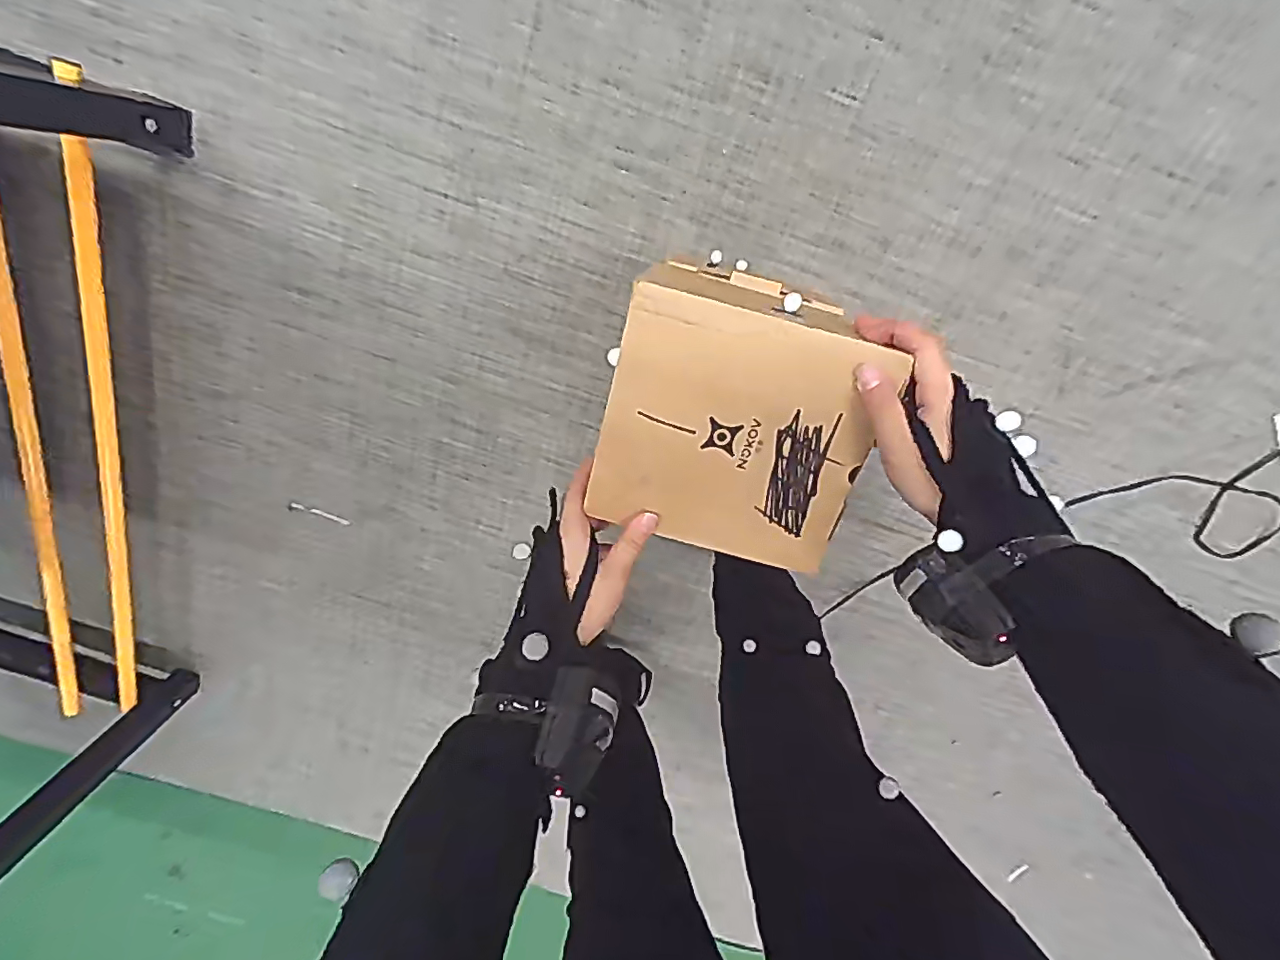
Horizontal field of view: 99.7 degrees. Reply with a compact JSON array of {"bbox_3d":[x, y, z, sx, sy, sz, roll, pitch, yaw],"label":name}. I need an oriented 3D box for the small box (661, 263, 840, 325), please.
[{"bbox_3d":[0.086,-0.124,0.580,0.168,0.176,0.179,15,115,0],"label":"small box"}]

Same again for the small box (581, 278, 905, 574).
[{"bbox_3d":[0.068,-0.056,0.432,0.179,0.176,0.168,16,115,0],"label":"small box"}]
